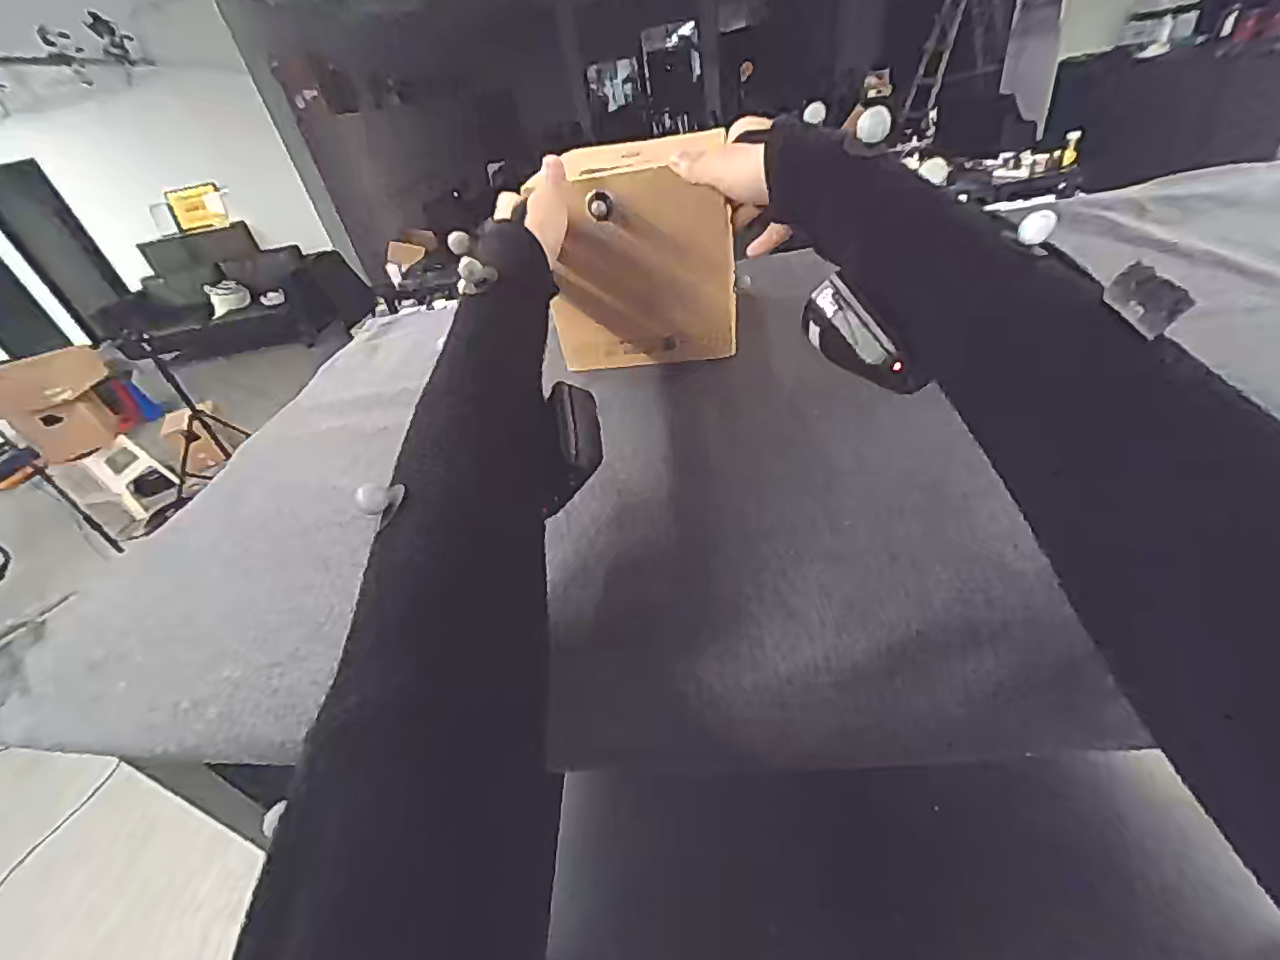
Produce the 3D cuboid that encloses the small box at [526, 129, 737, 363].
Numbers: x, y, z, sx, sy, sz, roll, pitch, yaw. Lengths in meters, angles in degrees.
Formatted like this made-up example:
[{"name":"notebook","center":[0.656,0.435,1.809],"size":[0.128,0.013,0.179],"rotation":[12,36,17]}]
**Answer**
[{"name":"small box","center":[0.008,-0.232,0.540],"size":[0.168,0.176,0.179],"rotation":[-2,38,12]}]
